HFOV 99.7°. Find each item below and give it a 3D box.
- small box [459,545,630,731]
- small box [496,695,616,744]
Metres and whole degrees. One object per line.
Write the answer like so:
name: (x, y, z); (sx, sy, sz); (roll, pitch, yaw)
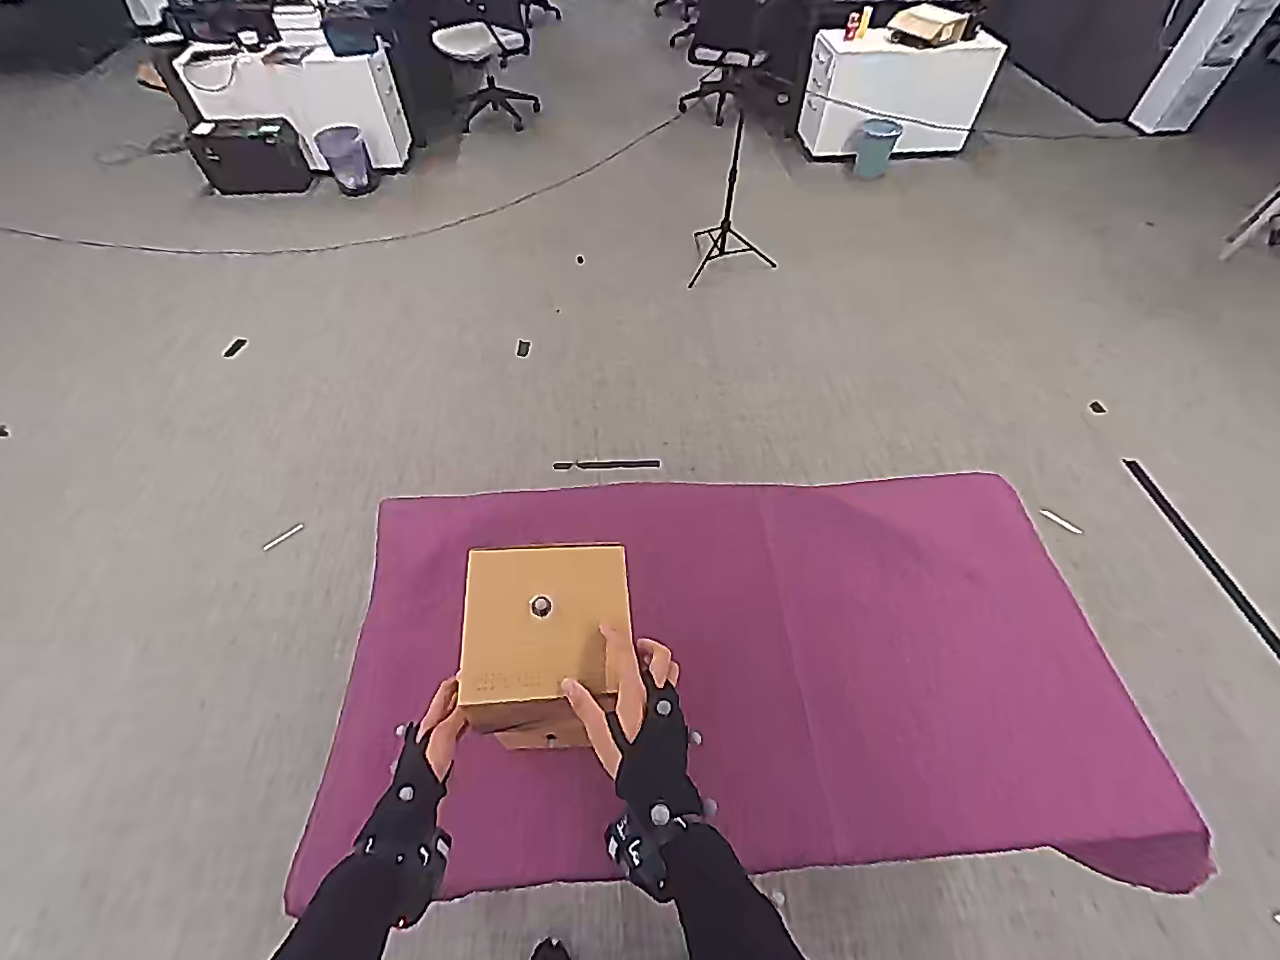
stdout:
small box: (-0.107, 0.190, 0.636); (0.179, 0.168, 0.176); (-2, 57, -10)
small box: (-0.119, 0.279, 0.788); (0.168, 0.176, 0.179); (0, 53, -2)
